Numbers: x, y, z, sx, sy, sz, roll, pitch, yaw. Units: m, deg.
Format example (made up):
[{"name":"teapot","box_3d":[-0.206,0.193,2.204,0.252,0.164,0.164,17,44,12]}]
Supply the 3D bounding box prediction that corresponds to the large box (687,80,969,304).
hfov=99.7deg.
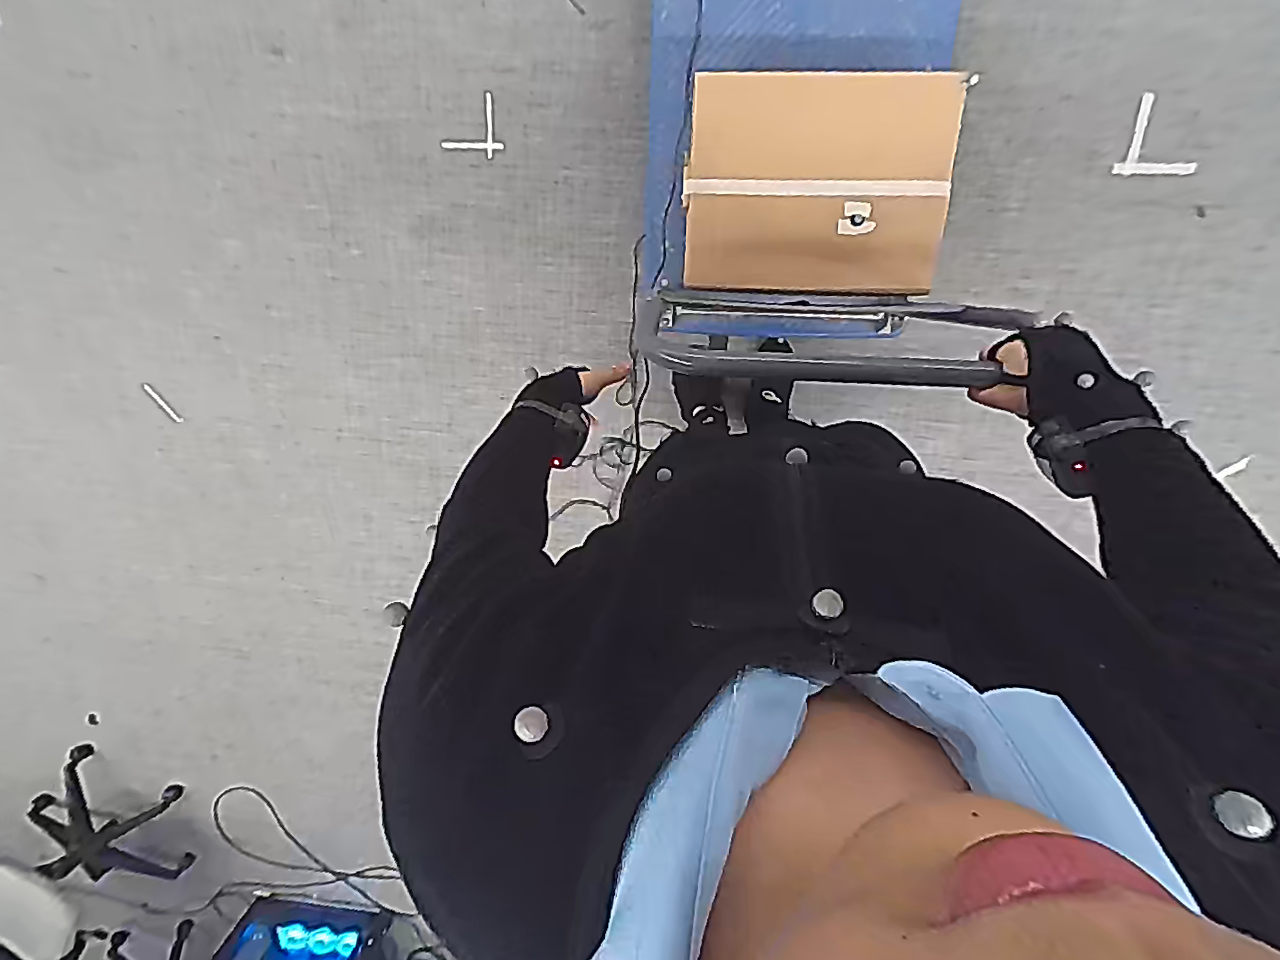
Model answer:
[{"name":"large box","box_3d":[0.291,-0.487,0.987,0.408,0.320,0.320,3,108,4]}]
